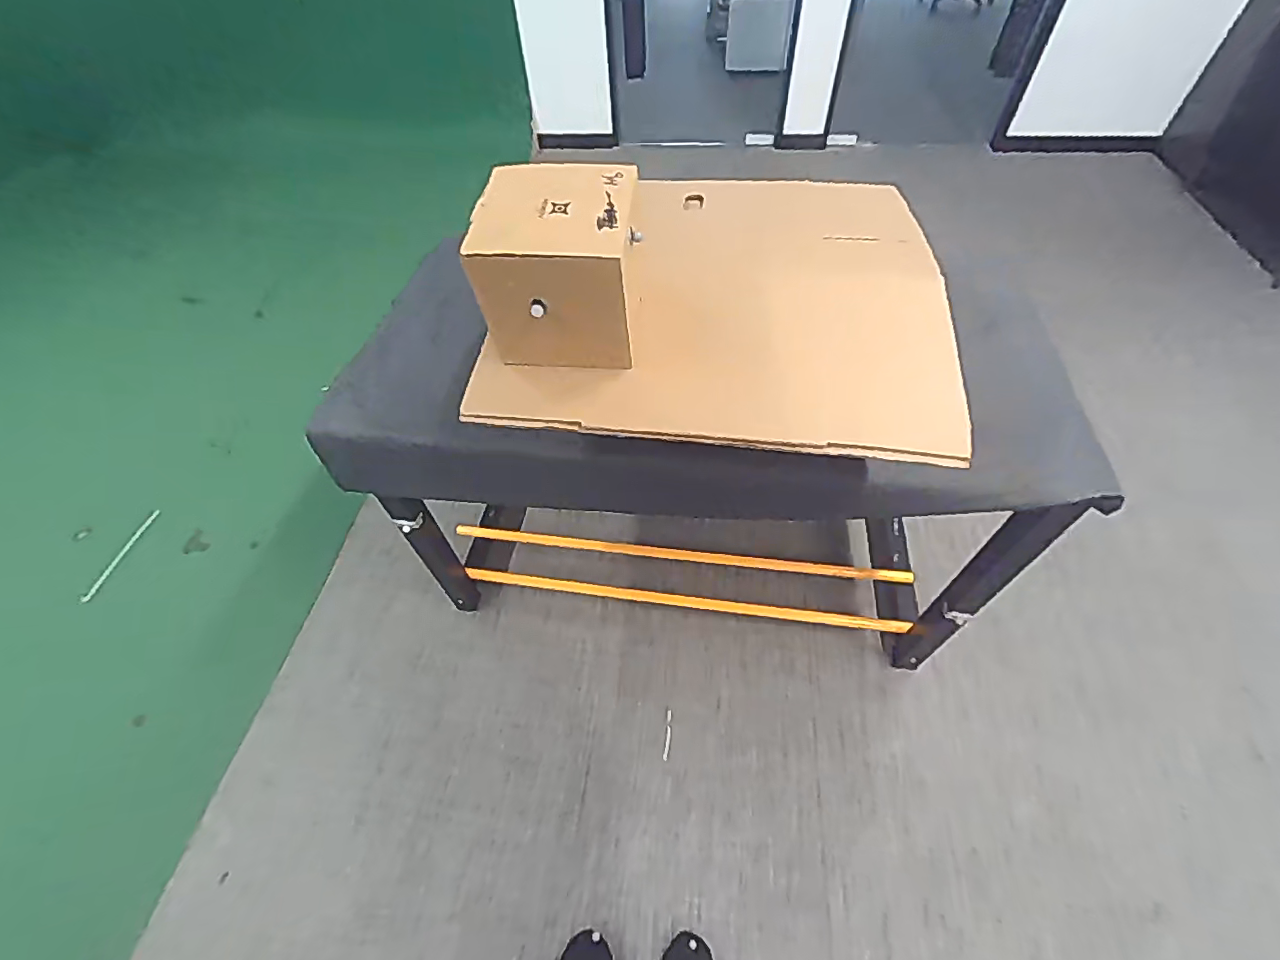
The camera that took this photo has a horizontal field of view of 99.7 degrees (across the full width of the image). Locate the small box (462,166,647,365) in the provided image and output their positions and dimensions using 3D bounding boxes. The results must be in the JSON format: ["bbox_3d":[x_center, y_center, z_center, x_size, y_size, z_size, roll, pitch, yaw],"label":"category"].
[{"bbox_3d":[-0.090,-0.259,0.673,0.179,0.176,0.168,3,60,6],"label":"small box"}]
